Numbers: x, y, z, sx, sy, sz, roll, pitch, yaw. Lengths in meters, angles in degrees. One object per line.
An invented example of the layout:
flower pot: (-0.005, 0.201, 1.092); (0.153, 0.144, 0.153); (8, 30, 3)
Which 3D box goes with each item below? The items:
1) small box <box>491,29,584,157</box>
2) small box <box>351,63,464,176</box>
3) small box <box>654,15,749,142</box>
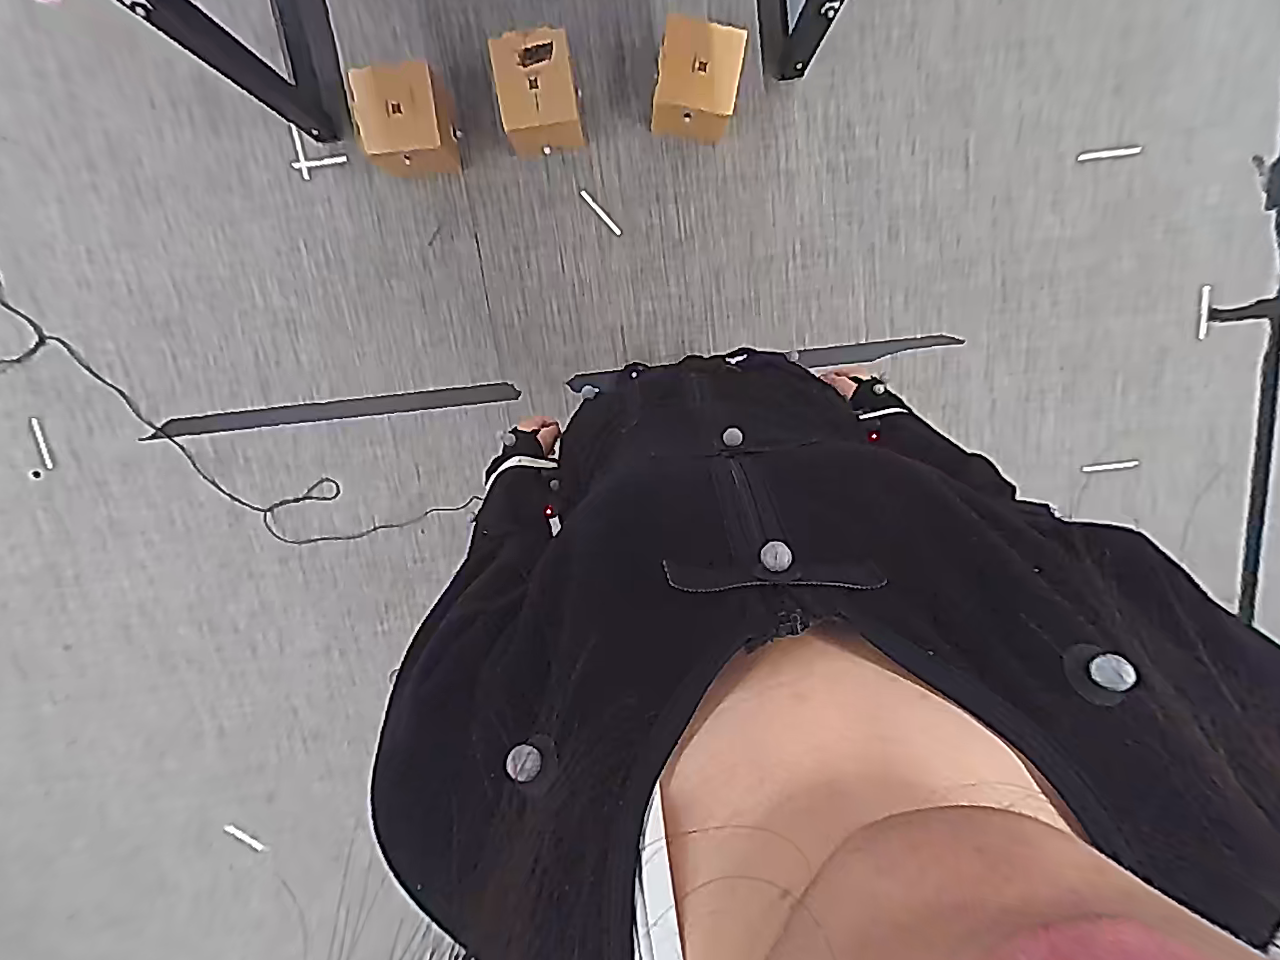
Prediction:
small box: (-0.225, -0.871, 1.231); (0.168, 0.176, 0.179); (-8, 103, 2)
small box: (-0.525, -0.817, 1.243); (0.179, 0.176, 0.168); (-5, 103, 0)
small box: (0.131, -0.898, 1.229); (0.179, 0.176, 0.168); (10, 102, -1)
